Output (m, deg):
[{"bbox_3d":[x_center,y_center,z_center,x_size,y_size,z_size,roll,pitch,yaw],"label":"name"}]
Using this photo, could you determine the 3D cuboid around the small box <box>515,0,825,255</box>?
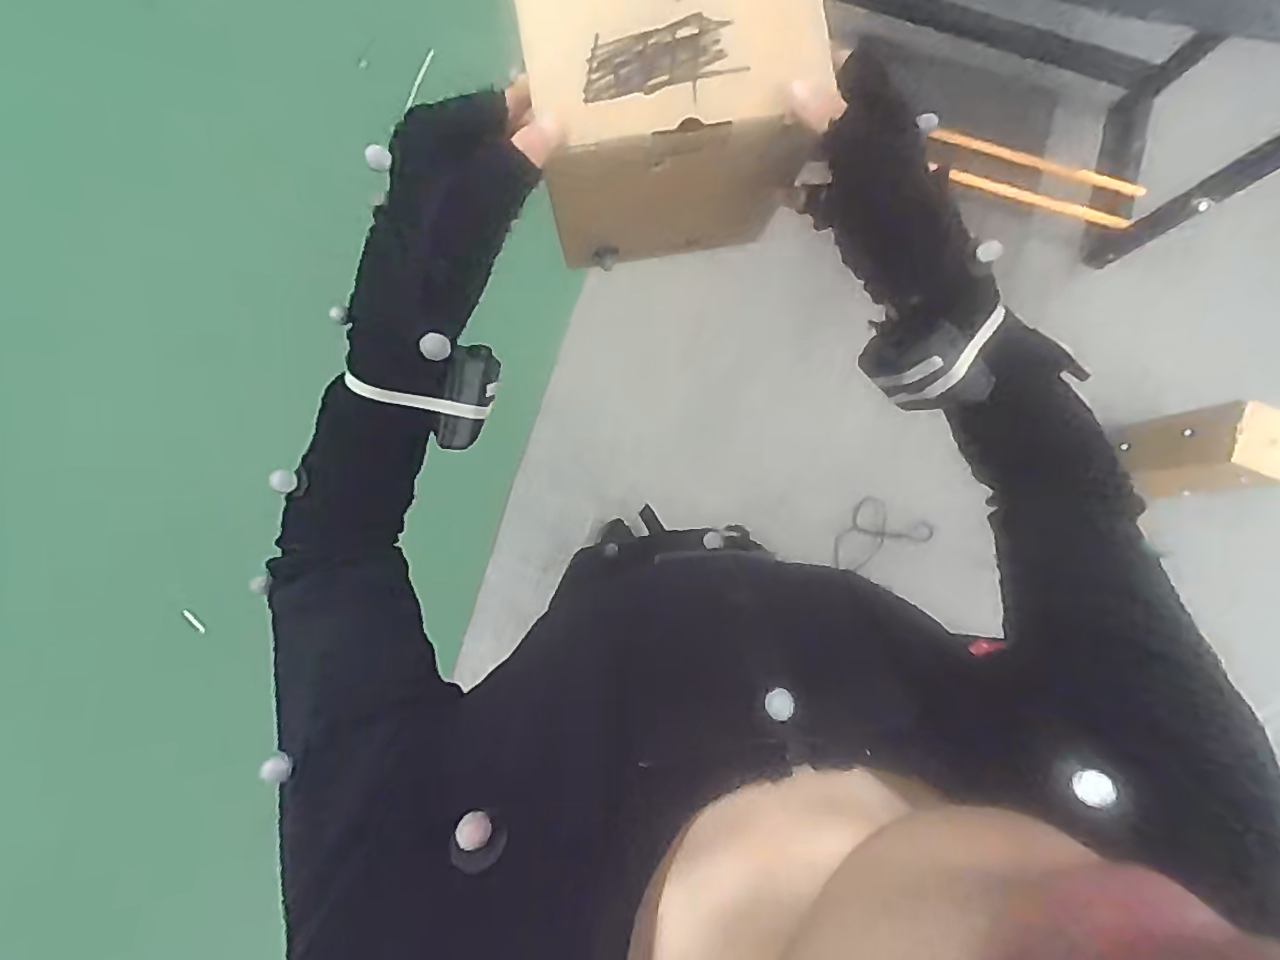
[{"bbox_3d":[0.010,-0.276,0.379,0.168,0.176,0.179,-9,90,-2],"label":"small box"}]

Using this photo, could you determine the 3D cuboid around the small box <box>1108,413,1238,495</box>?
[{"bbox_3d":[1.465,-0.063,1.495,0.179,0.176,0.168,22,83,1],"label":"small box"}]
